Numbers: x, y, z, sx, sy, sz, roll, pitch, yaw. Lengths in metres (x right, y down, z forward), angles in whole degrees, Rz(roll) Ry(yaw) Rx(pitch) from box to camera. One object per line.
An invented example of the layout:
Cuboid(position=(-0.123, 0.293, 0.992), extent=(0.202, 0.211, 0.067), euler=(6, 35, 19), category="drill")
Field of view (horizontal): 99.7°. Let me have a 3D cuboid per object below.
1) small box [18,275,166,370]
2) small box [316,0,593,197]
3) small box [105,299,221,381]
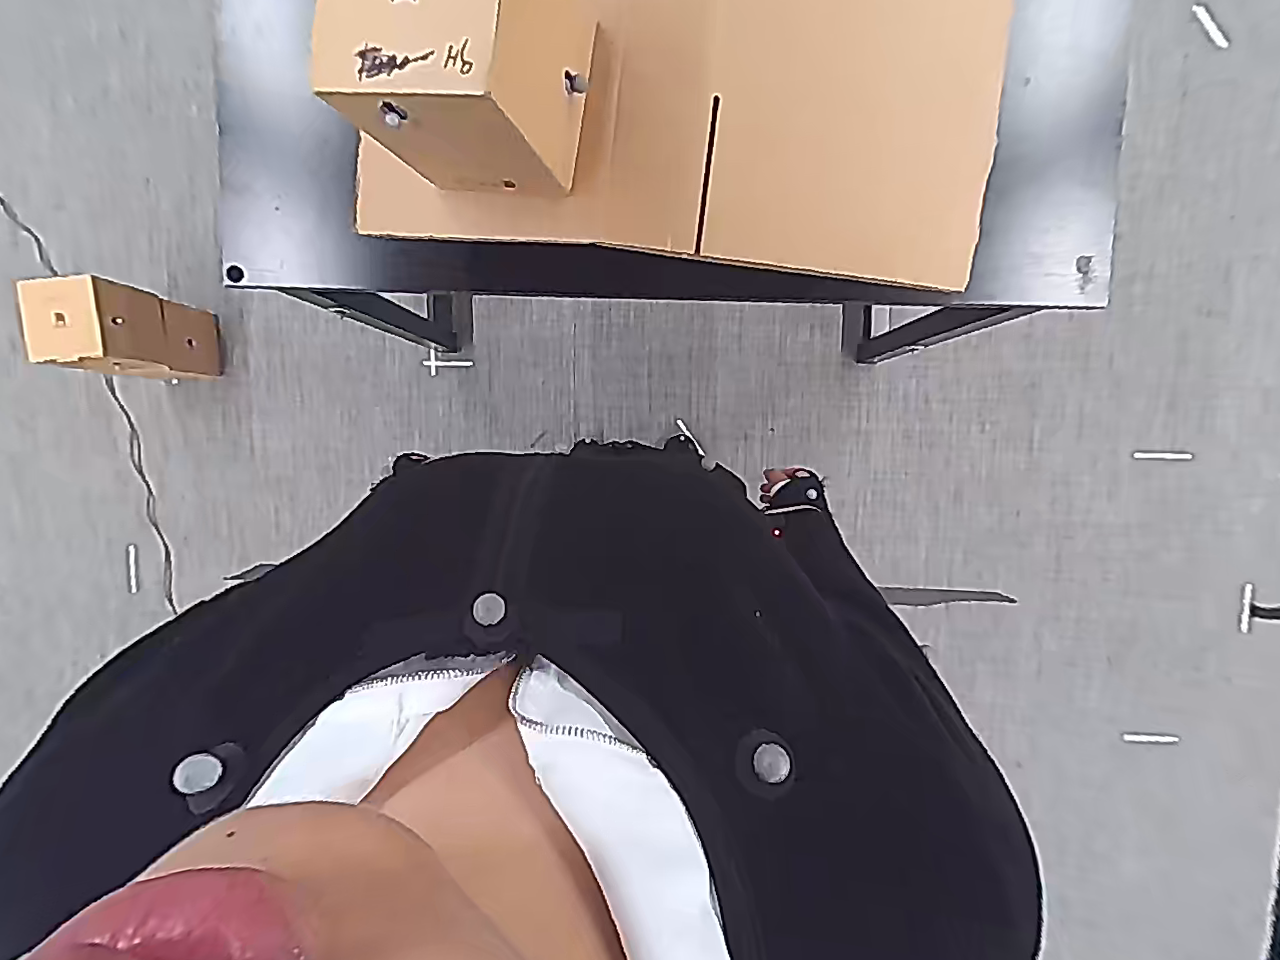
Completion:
Cuboid(position=(-1.240, -0.350, 1.239), extent=(0.168, 0.176, 0.179), euler=(-6, 93, 0), category="small box")
Cuboid(position=(-0.153, -0.392, 0.494), extent=(0.168, 0.176, 0.179), euler=(11, 95, 14), category="small box")
Cuboid(position=(-1.236, -0.357, 1.402), extent=(0.168, 0.176, 0.179), euler=(-2, 95, 1), category="small box")
